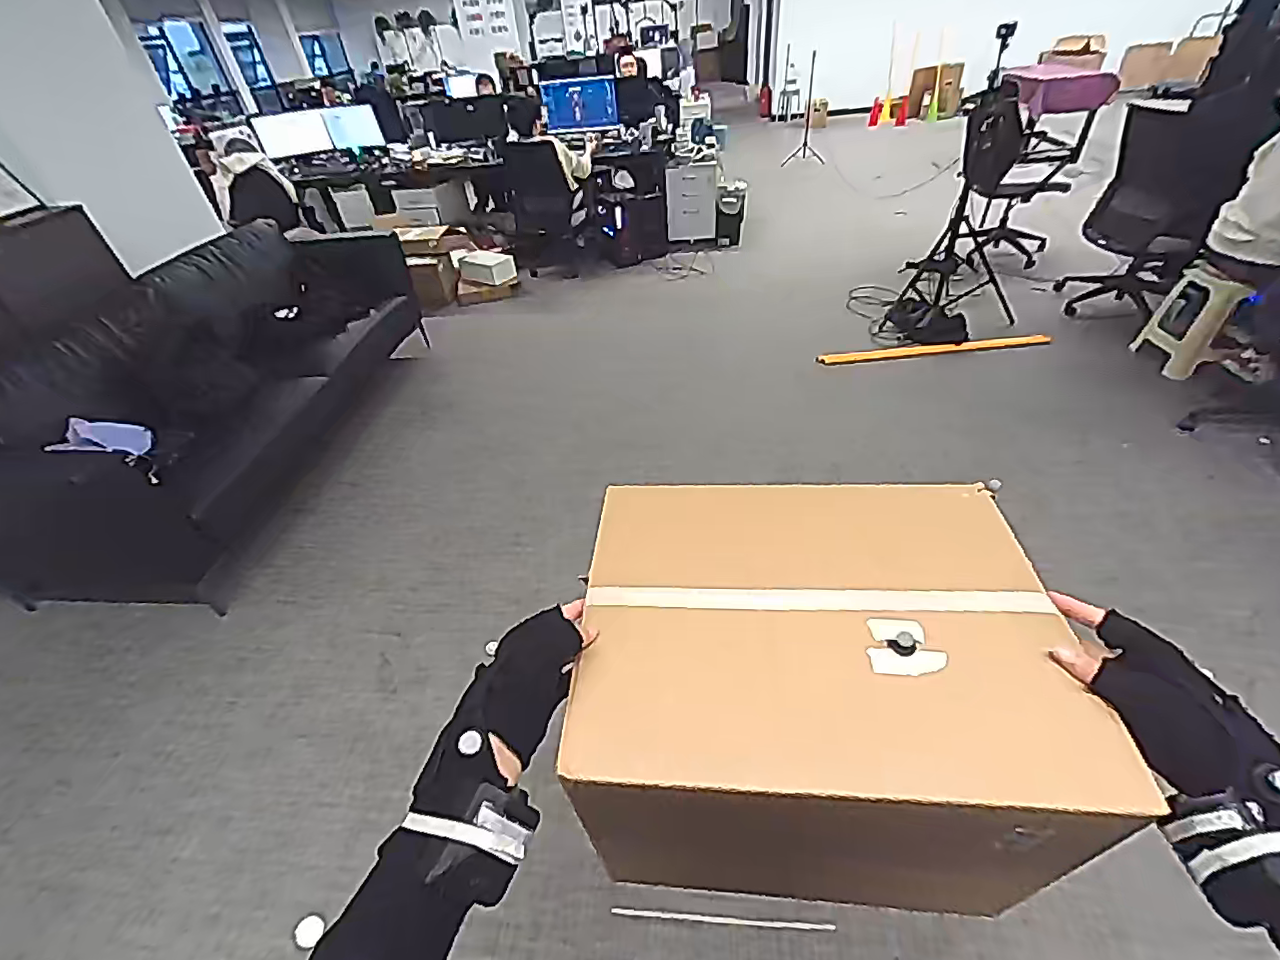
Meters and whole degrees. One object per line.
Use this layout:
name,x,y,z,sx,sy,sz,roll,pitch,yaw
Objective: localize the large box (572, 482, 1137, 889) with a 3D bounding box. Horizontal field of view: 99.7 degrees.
large box,0.165,0.219,0.595,0.408,0.320,0.320,-1,43,7
